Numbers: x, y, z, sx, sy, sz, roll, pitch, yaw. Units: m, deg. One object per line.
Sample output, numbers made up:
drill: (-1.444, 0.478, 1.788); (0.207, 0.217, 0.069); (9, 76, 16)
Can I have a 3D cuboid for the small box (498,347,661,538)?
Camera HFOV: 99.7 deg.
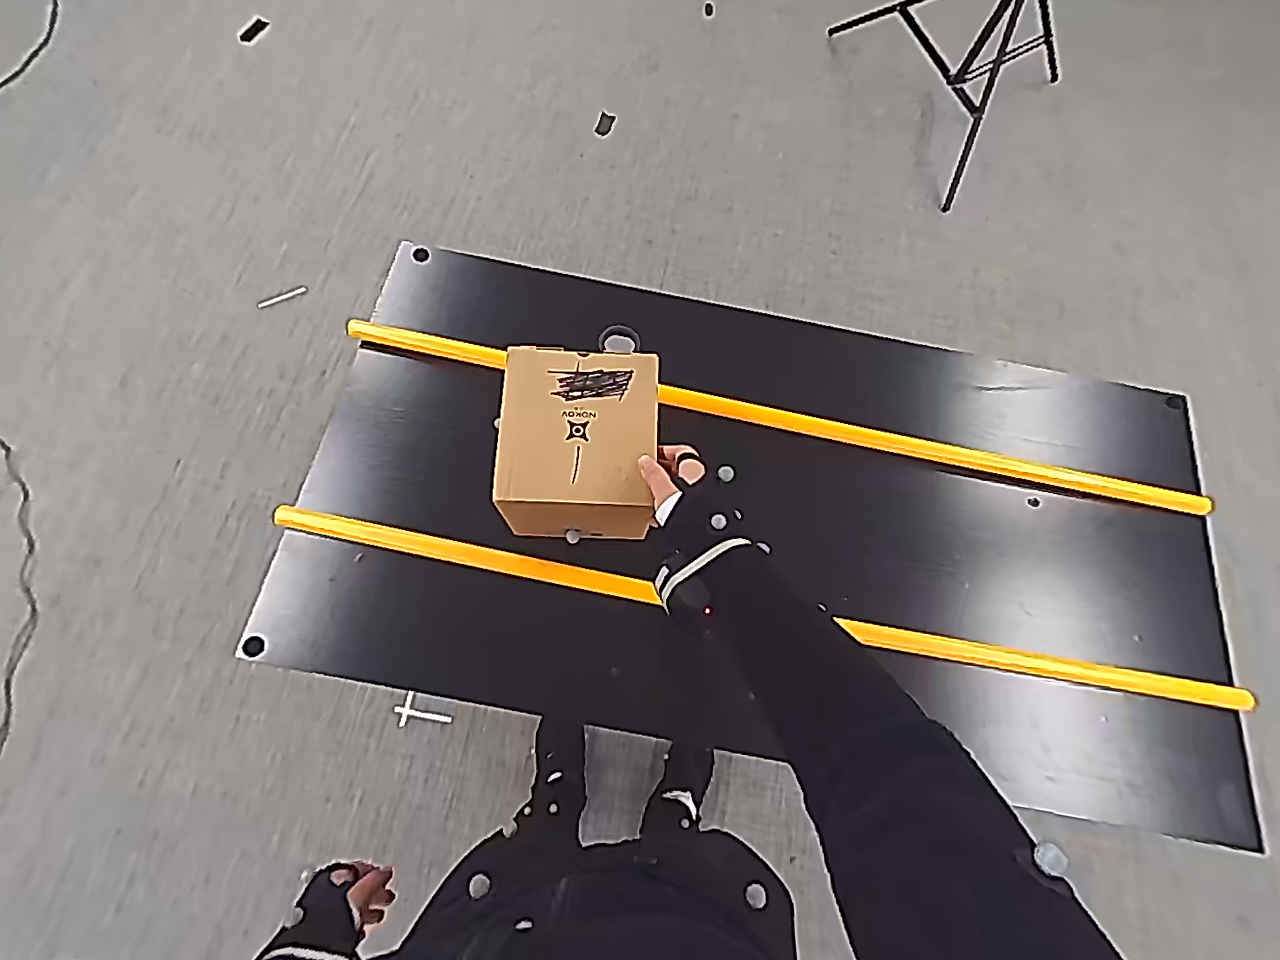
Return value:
small box: (-0.067, -0.036, 0.648); (0.168, 0.176, 0.179); (2, 72, -3)
